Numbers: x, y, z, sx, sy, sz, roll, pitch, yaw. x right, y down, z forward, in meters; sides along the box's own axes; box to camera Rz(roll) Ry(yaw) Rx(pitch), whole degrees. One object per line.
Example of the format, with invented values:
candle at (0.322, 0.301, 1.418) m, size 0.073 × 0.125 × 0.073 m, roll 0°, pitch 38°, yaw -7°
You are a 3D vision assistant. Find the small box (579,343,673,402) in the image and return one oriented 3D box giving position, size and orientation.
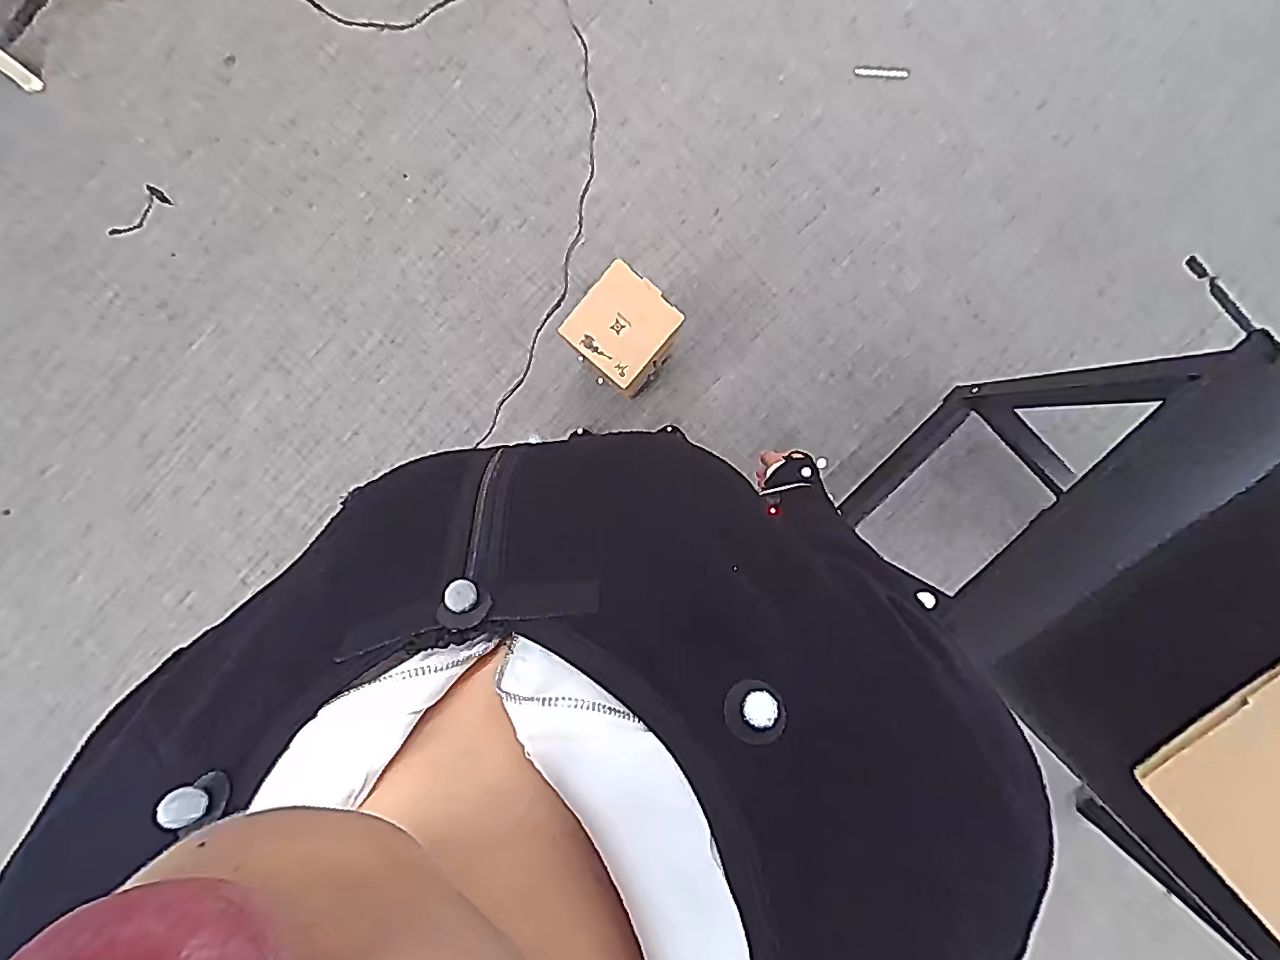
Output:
small box at (-0.035, -0.320, 1.392) m, size 0.168 × 0.176 × 0.179 m, roll 41°, pitch 95°, yaw -2°

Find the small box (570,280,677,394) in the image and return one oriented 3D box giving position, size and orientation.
small box at (-0.034, -0.313, 1.231) m, size 0.168 × 0.176 × 0.179 m, roll 38°, pitch 92°, yaw -3°
